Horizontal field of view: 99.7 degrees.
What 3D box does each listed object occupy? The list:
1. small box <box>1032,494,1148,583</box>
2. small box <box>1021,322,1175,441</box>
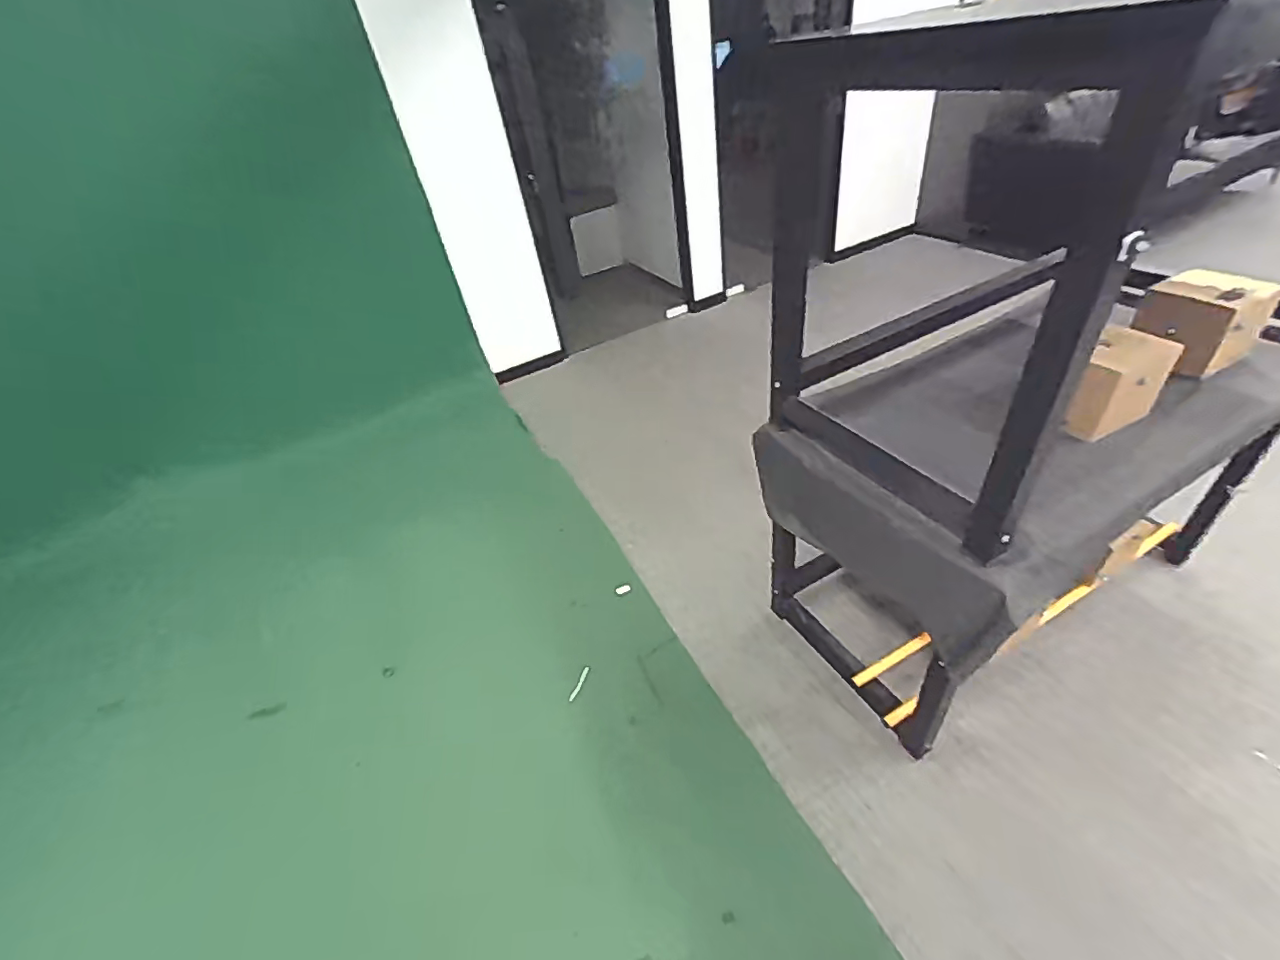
[{"bbox_3d":[1.311,0.178,1.587,0.168,0.176,0.179,-22,41,-14],"label":"small box"},{"bbox_3d":[0.952,-0.208,1.146,0.179,0.176,0.168,-22,41,-14],"label":"small box"}]
